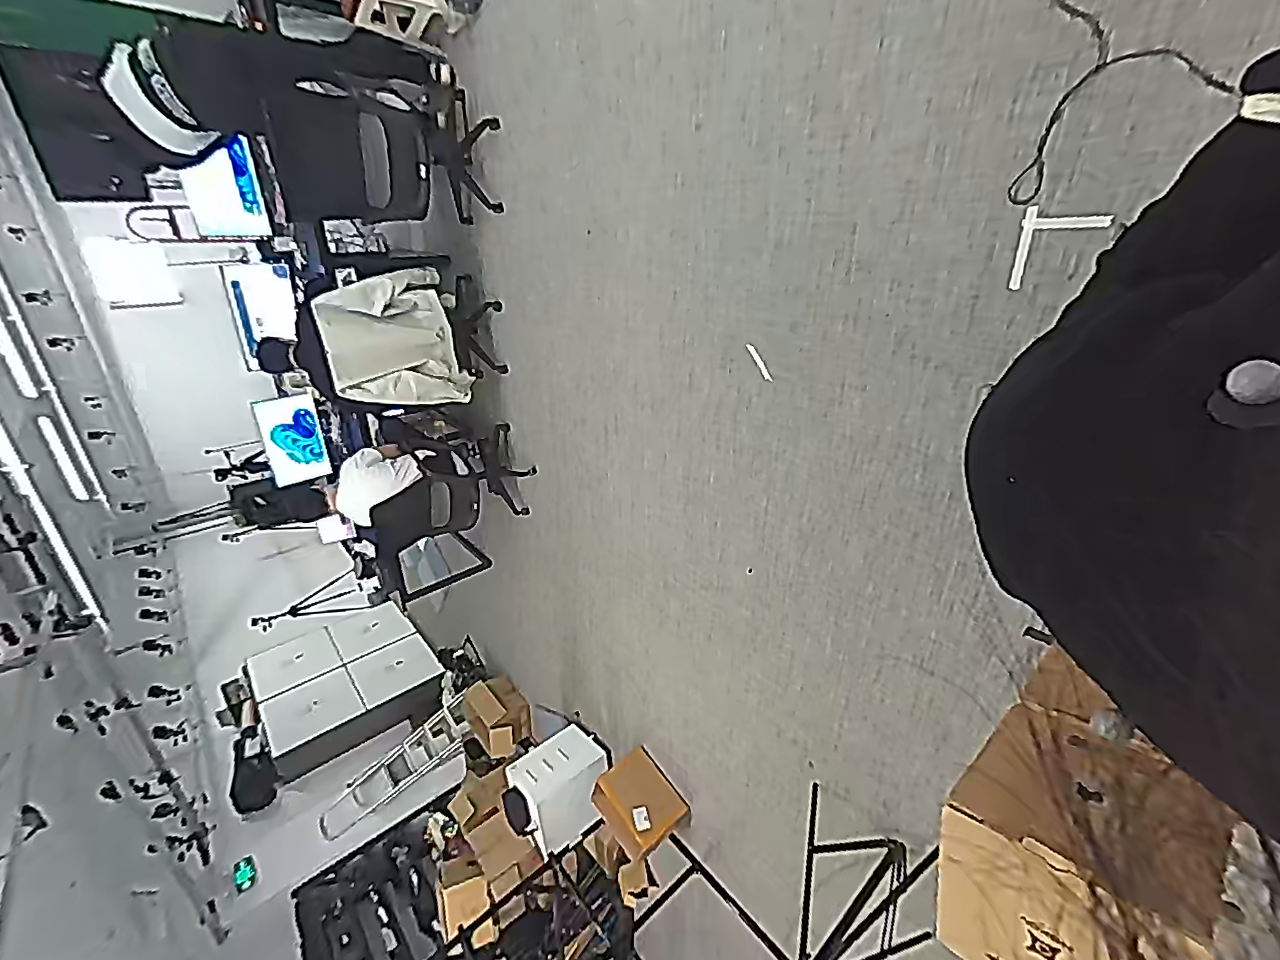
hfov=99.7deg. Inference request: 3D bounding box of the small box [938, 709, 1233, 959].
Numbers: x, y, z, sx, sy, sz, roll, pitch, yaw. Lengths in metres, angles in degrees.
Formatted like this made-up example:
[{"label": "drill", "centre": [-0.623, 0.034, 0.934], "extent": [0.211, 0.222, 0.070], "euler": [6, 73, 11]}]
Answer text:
[{"label": "small box", "centre": [0.394, 0.345, 0.486], "extent": [0.168, 0.176, 0.179], "euler": [13, 115, 50]}]
